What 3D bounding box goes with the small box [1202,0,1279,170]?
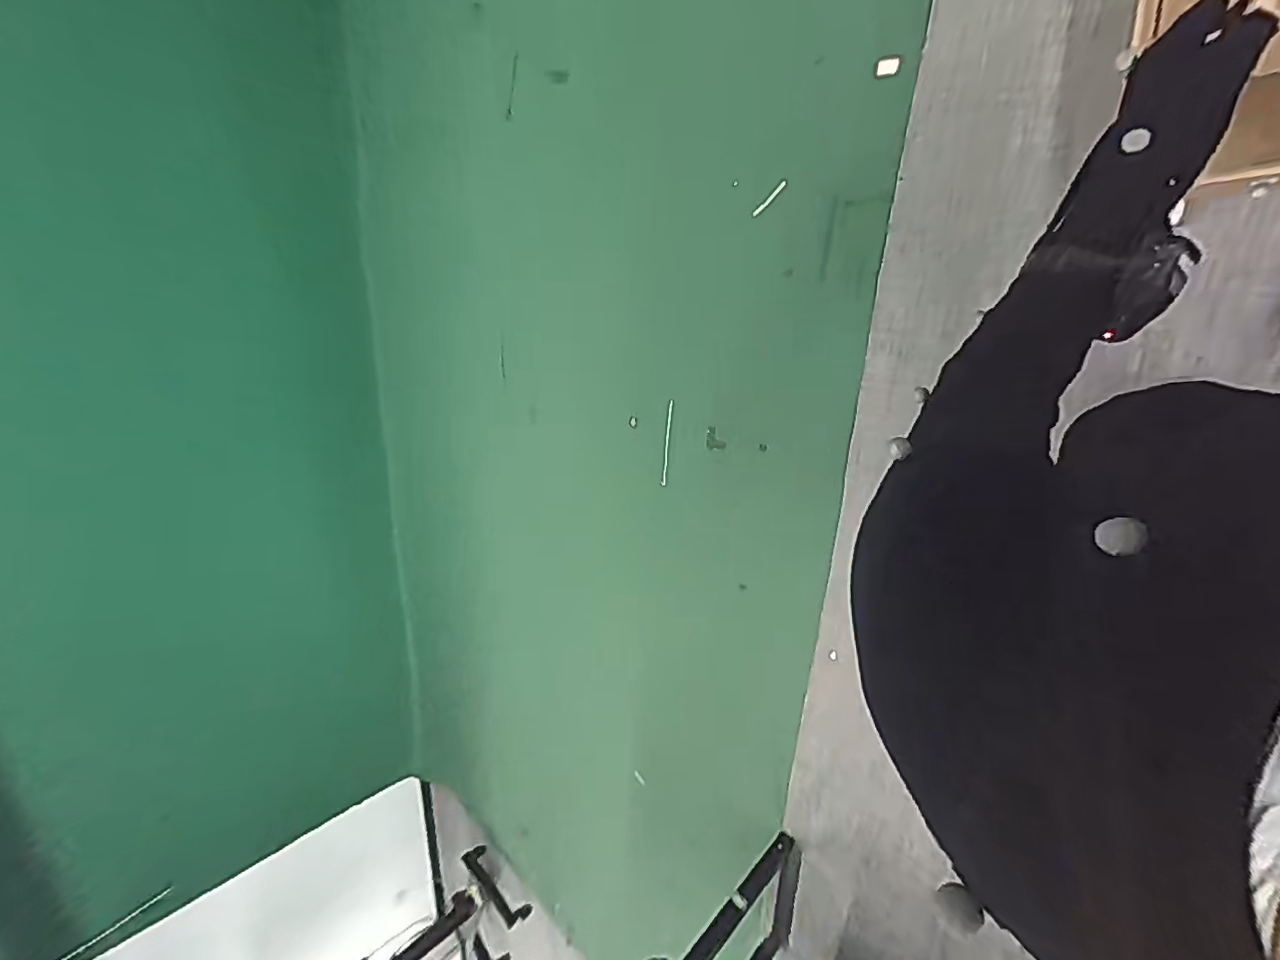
[{"bbox_3d":[0.550,-0.355,0.391,0.179,0.176,0.168,8,97,38],"label":"small box"}]
